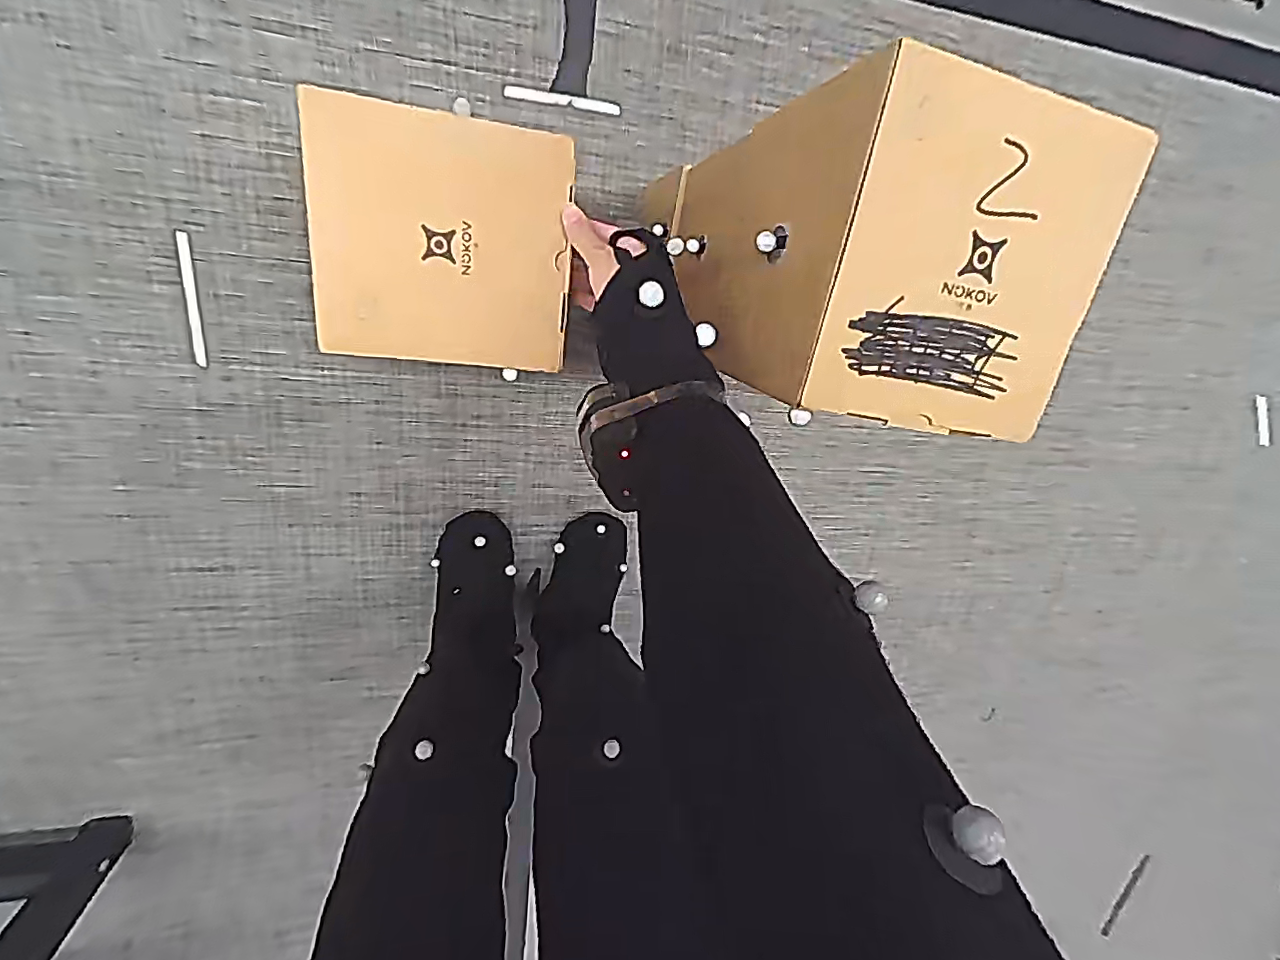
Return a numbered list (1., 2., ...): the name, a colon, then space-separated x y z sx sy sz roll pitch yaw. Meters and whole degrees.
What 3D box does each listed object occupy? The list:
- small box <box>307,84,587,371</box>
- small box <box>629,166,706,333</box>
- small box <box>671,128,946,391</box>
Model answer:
1. small box: -0.147 -0.191 0.449 0.179 0.176 0.168 1 111 -15
2. small box: 0.099 -0.260 0.659 0.179 0.176 0.168 6 110 -16
3. small box: 0.137 -0.195 0.511 0.168 0.176 0.179 5 109 -15
